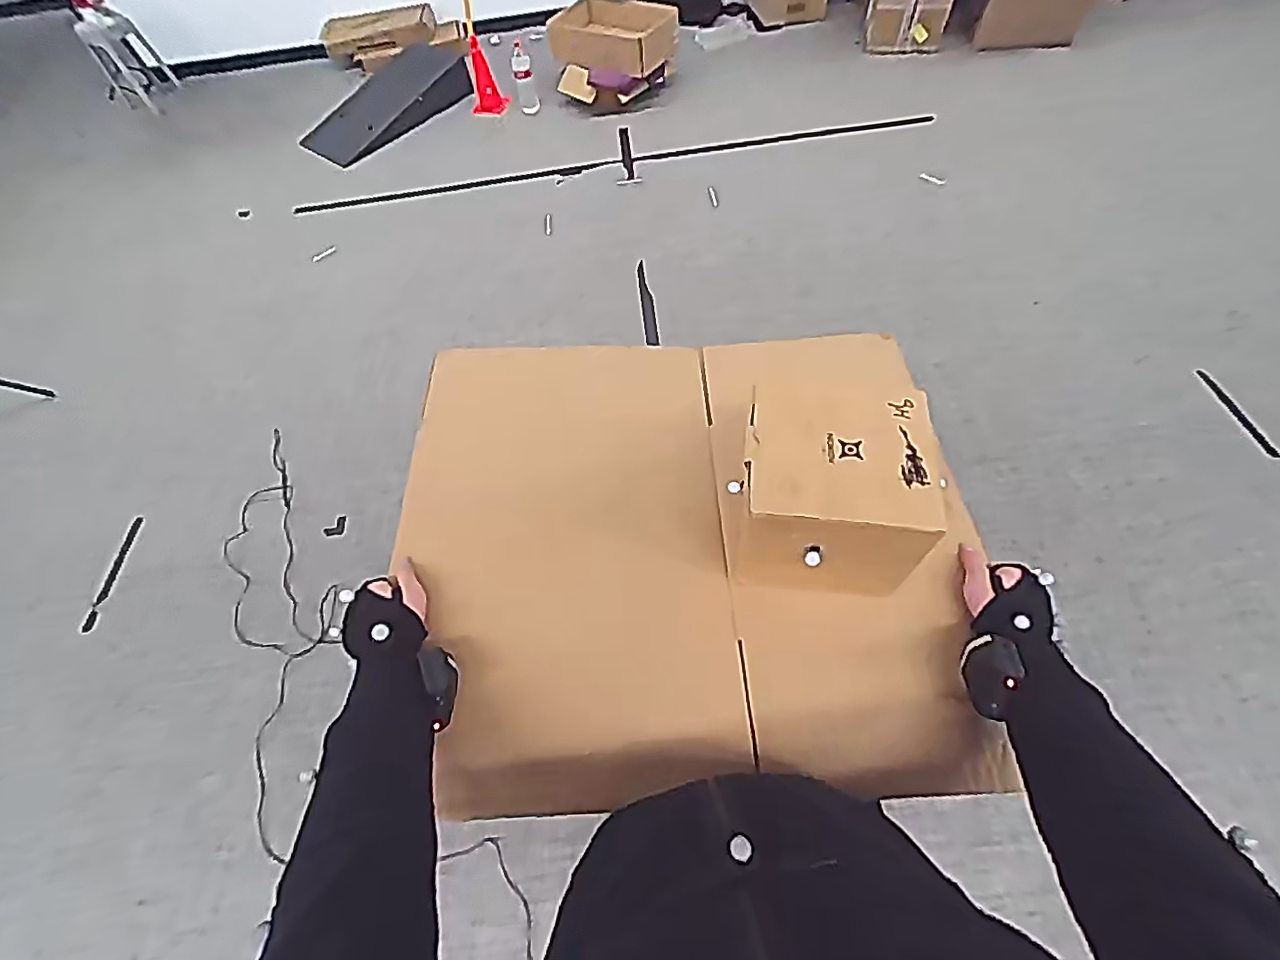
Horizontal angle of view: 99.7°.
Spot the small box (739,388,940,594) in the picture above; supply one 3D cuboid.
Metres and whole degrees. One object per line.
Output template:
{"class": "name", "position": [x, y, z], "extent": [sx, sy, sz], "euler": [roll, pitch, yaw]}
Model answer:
{"class": "small box", "position": [0.204, 0.017, 0.604], "extent": [0.179, 0.176, 0.168], "euler": [4, 59, 9]}
